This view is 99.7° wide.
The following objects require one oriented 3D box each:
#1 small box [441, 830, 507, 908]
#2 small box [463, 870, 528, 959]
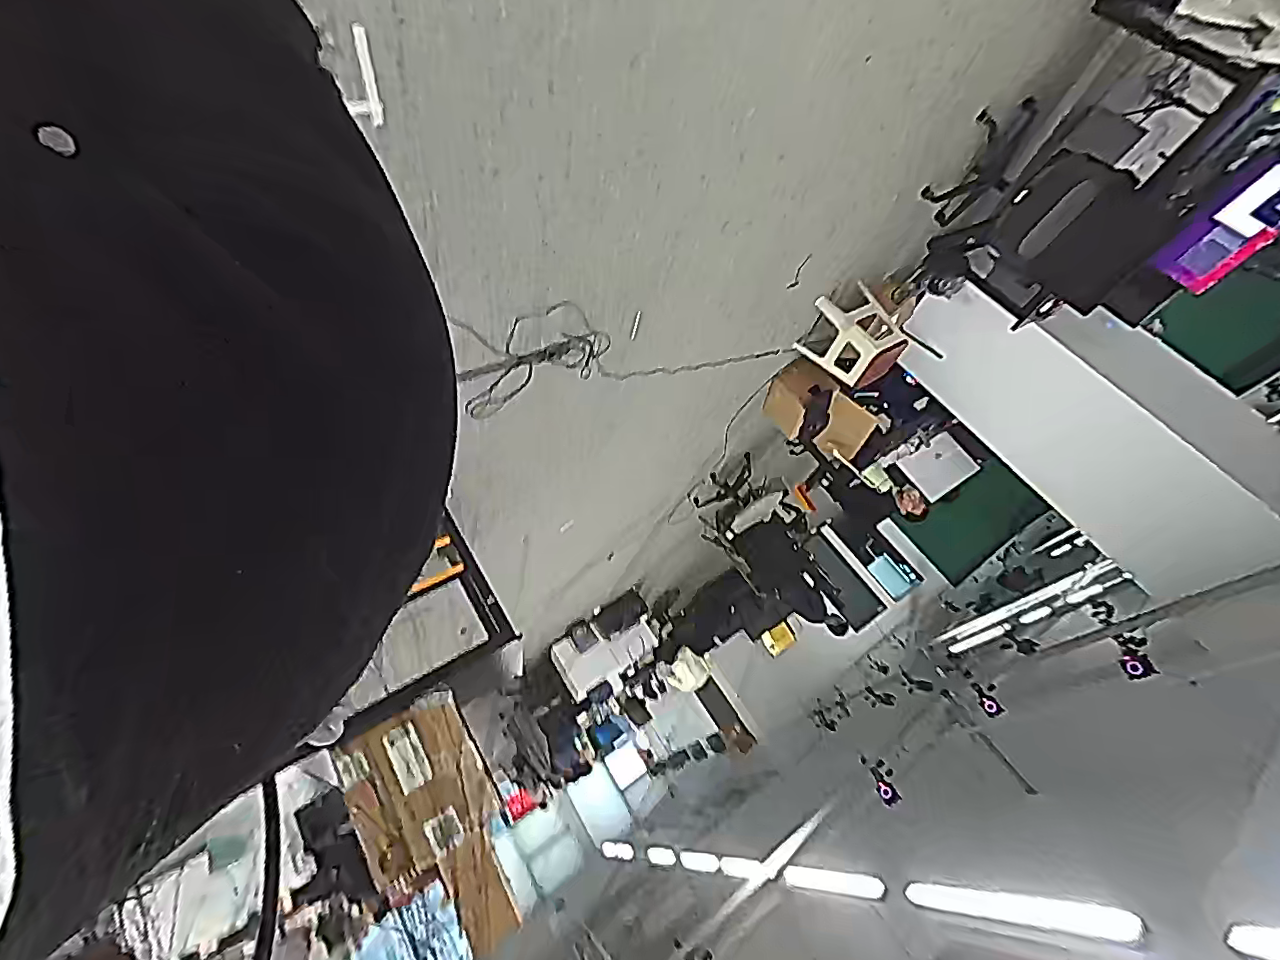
[{"bbox_3d":[-0.614,1.437,2.015,0.179,0.176,0.168,-27,158,-23],"label":"small box"},{"bbox_3d":[-0.526,1.561,1.955,0.179,0.176,0.168,-28,160,-20],"label":"small box"}]
